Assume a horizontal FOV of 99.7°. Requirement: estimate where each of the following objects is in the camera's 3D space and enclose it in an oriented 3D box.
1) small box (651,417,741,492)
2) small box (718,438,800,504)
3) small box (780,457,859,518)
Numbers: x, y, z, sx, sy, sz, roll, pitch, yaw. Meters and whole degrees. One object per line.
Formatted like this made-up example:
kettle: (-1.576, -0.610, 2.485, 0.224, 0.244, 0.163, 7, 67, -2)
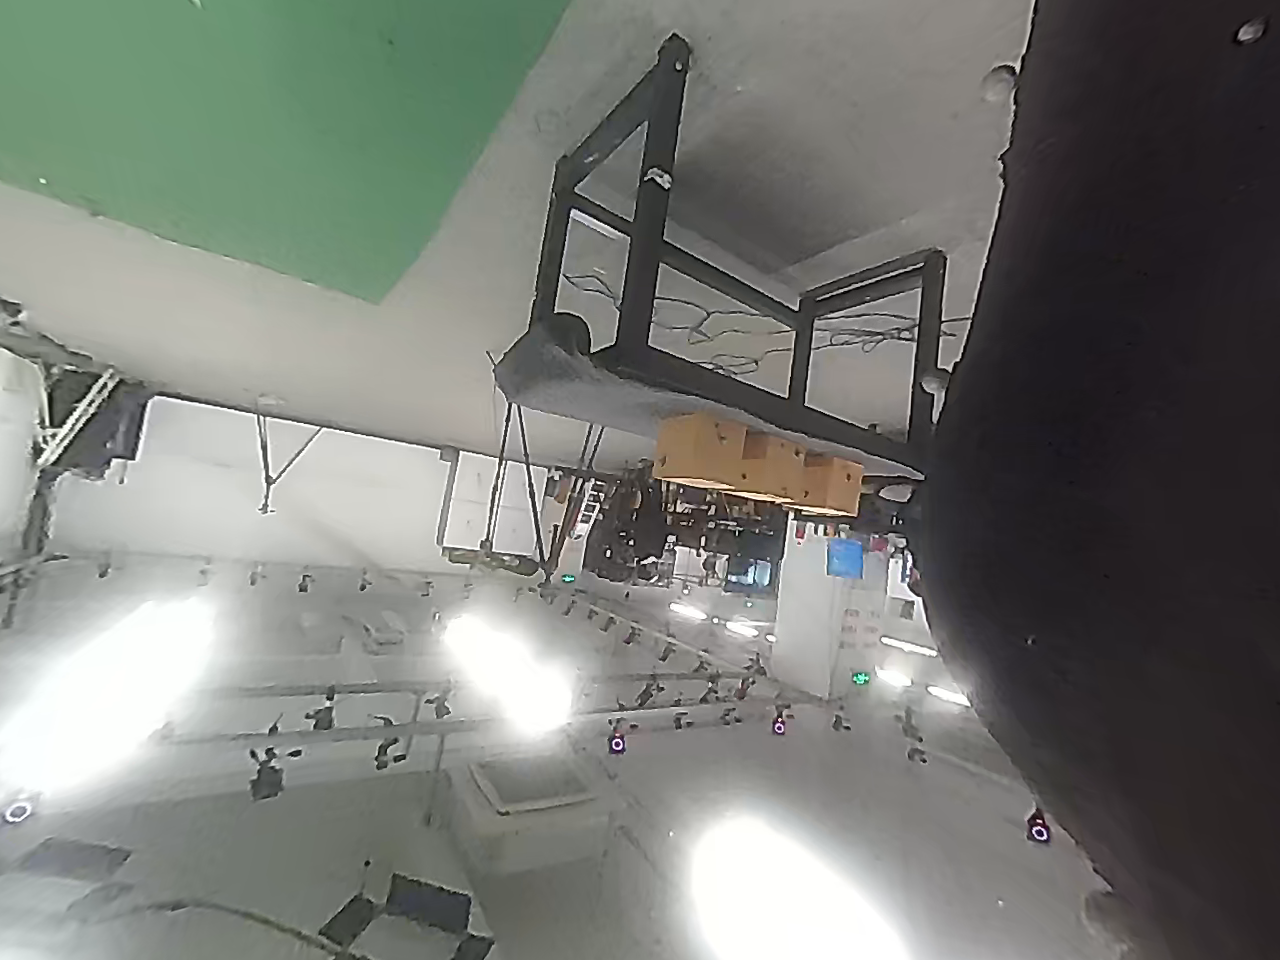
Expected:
small box: (0.155, -0.066, 1.462, 0.168, 0.176, 0.179, 11, 174, -33)
small box: (0.354, -0.026, 1.594, 0.168, 0.176, 0.179, 12, 174, -34)
small box: (0.586, 0.023, 1.758, 0.168, 0.176, 0.179, 12, 174, -33)
